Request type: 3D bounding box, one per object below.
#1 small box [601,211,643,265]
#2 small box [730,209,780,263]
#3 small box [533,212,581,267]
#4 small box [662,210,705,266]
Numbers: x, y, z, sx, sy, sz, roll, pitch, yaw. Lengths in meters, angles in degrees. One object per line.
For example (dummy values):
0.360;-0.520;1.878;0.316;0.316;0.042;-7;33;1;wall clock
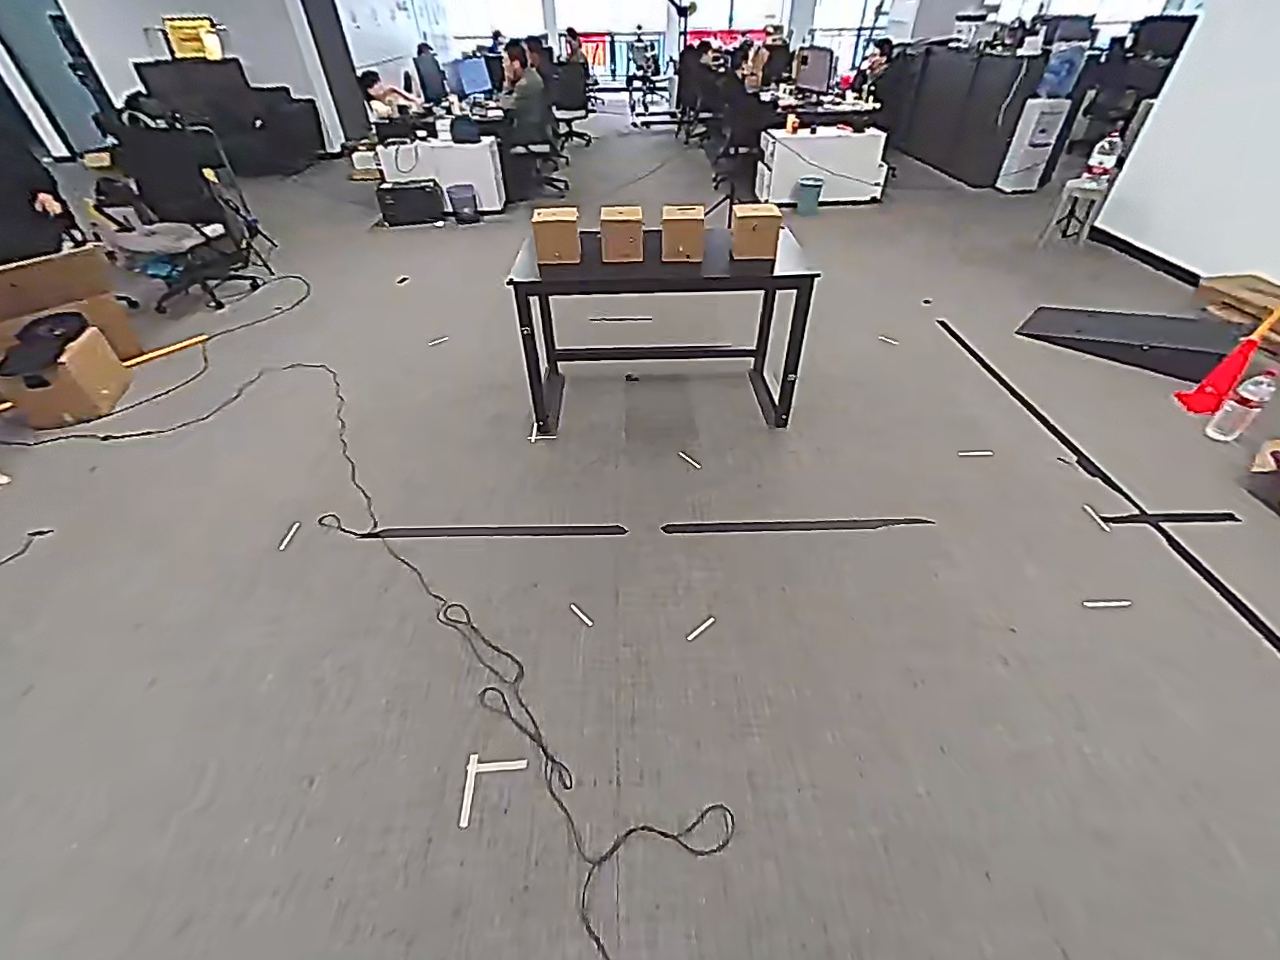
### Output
-0.074;-0.998;2.231;0.168;0.176;0.179;-1;40;-1;small box
0.467;-1.002;2.221;0.179;0.176;0.168;0;41;1;small box
-0.336;-0.987;2.220;0.179;0.176;0.168;-2;41;-2;small box
0.175;-0.996;2.221;0.168;0.176;0.179;1;42;2;small box
